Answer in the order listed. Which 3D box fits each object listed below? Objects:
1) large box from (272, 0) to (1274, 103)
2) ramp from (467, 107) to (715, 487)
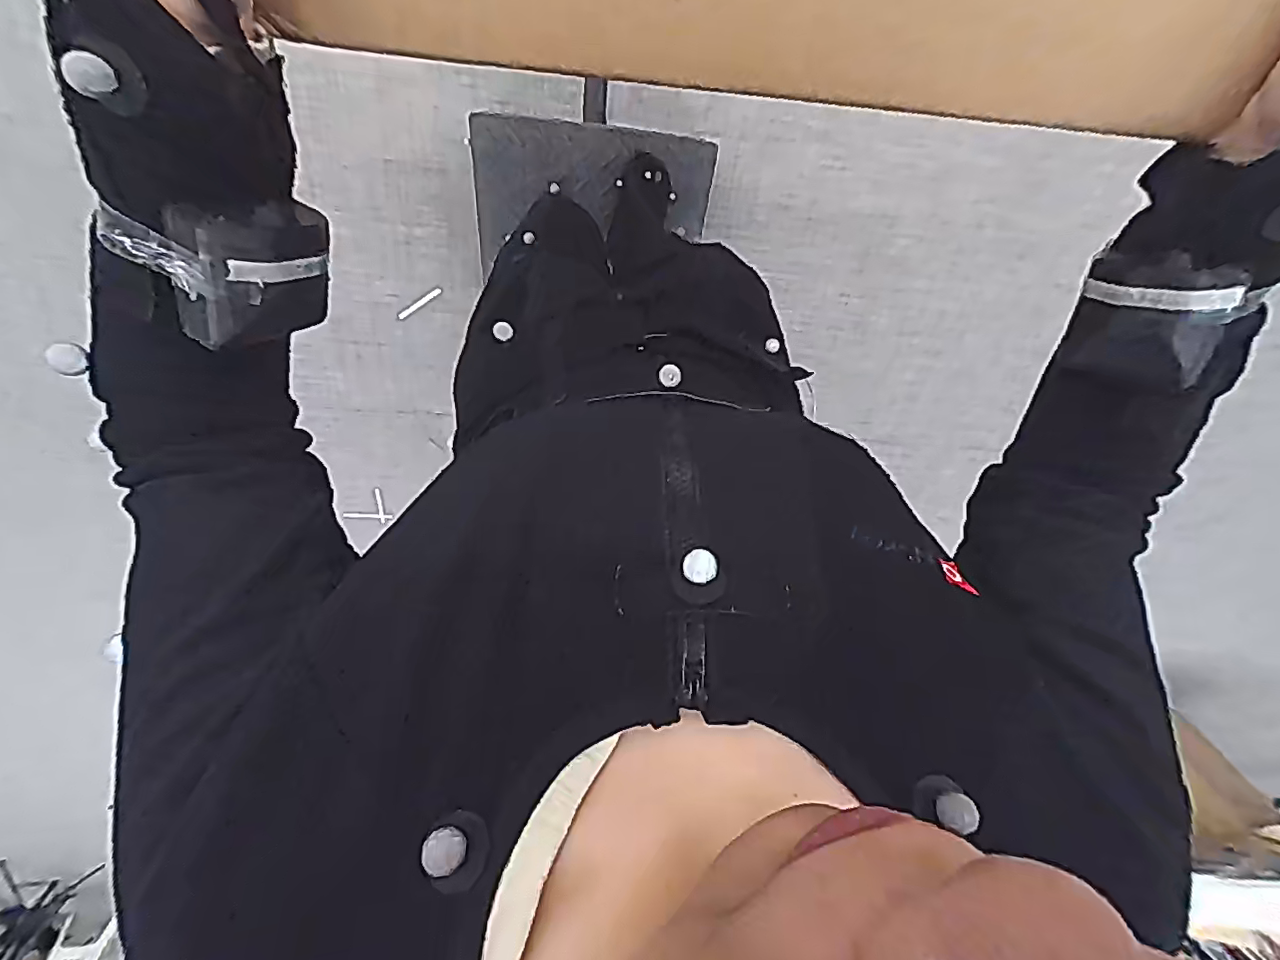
[{"bbox_3d":[0.060,-0.386,0.209,0.408,0.320,0.320,2,140,-5],"label":"large box"},{"bbox_3d":[-0.146,-0.343,1.394,0.509,0.206,0.991,2,125,-6],"label":"ramp"}]
